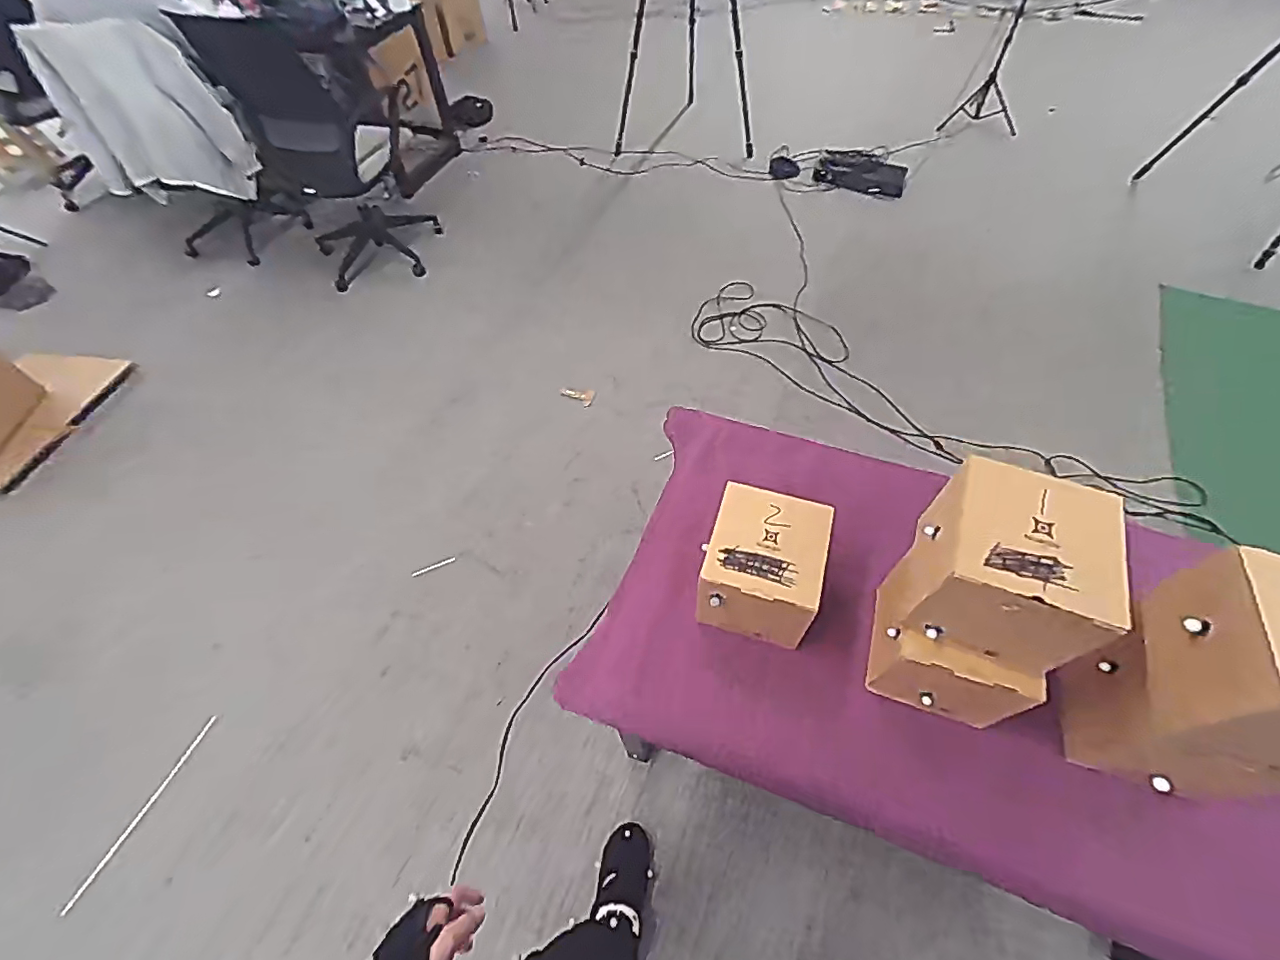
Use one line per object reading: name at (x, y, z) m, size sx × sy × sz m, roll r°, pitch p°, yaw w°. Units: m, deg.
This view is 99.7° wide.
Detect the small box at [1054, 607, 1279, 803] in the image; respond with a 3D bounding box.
small box at (0.686, 0.300, 0.714) m, size 0.168 × 0.176 × 0.179 m, roll 14°, pitch 57°, yaw 12°

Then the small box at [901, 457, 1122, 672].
small box at (0.438, 0.108, 0.660) m, size 0.168 × 0.176 × 0.179 m, roll 19°, pitch 57°, yaw 15°

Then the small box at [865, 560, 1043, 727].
small box at (0.439, 0.228, 0.777) m, size 0.168 × 0.176 × 0.179 m, roll 15°, pitch 58°, yaw 13°

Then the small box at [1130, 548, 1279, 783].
small box at (0.682, 0.204, 0.580) m, size 0.168 × 0.176 × 0.179 m, roll 13°, pitch 55°, yaw 12°
